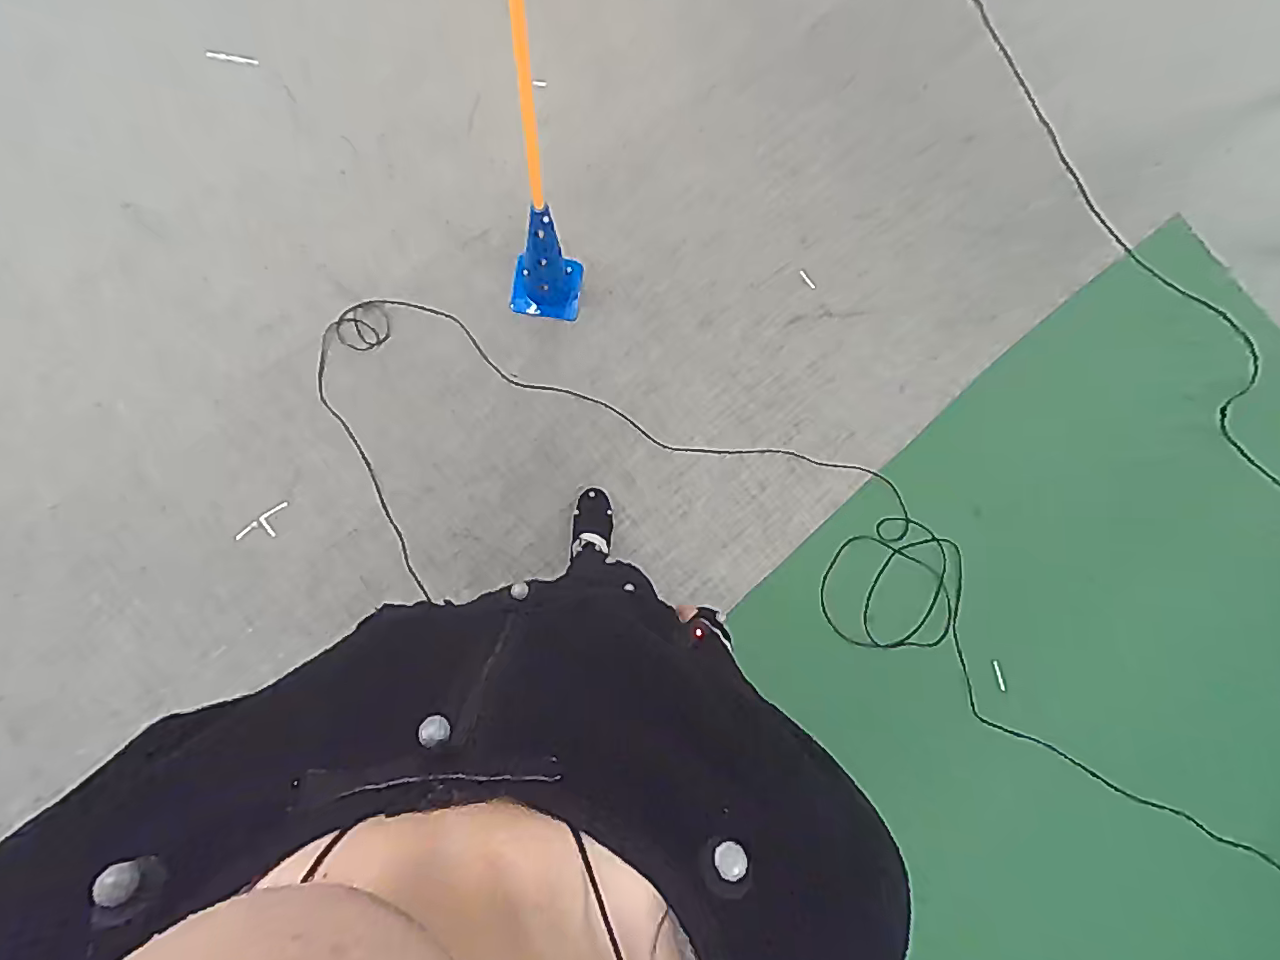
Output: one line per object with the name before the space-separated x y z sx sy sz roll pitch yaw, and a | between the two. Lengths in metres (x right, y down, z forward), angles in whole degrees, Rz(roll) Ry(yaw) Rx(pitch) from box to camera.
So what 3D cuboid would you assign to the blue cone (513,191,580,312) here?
blue cone | -0.256 -0.624 1.445 0.192 0.380 0.193 6 77 -6
